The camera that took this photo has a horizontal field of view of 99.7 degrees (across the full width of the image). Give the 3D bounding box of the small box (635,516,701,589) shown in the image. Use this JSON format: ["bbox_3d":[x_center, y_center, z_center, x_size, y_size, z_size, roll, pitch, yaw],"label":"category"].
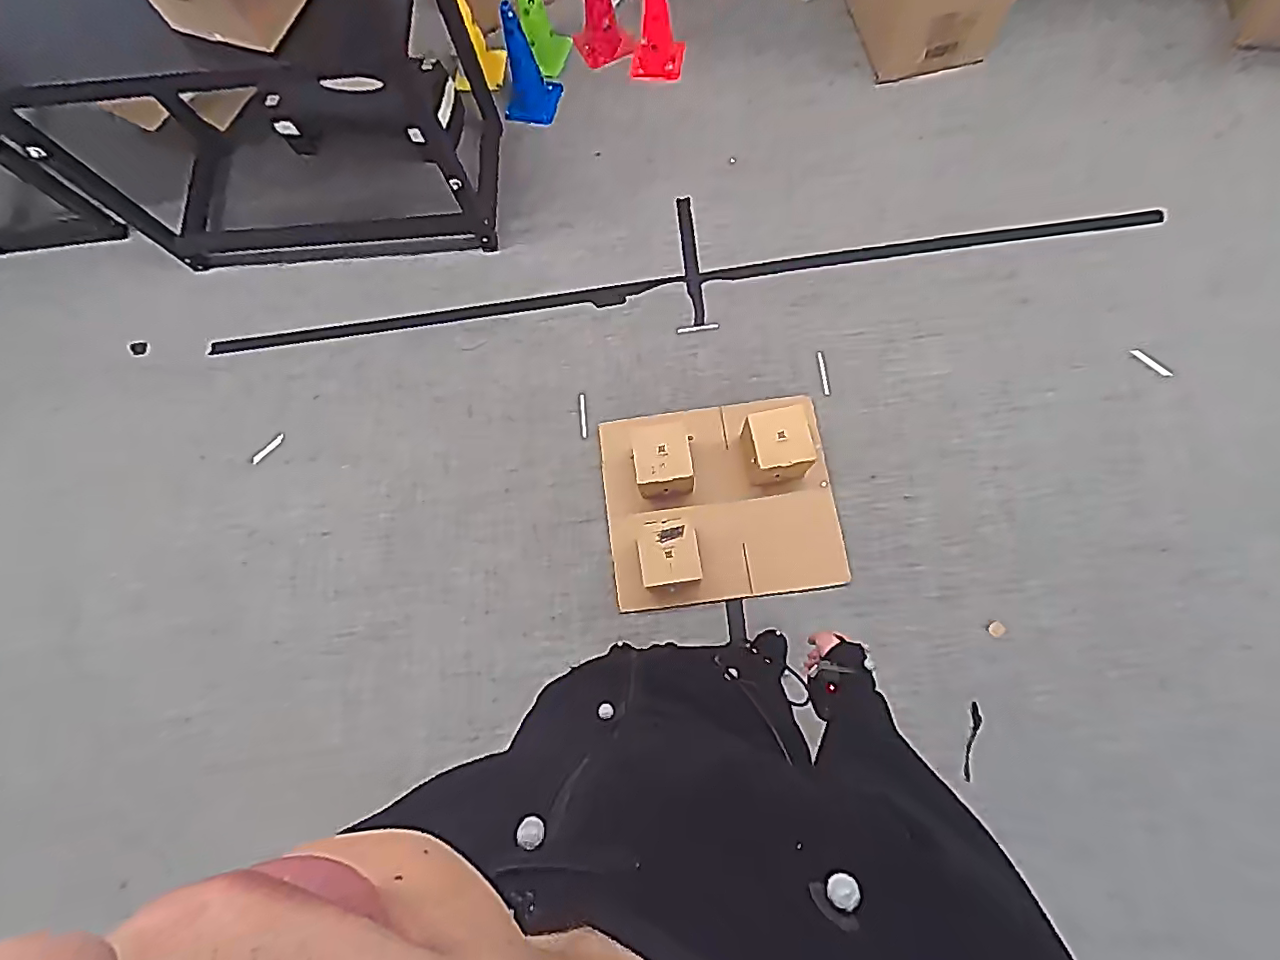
[{"bbox_3d":[0.080,0.214,1.561,0.168,0.176,0.179,-9,77,3],"label":"small box"}]

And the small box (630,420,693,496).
[{"bbox_3d":[0.065,-0.062,1.633,0.168,0.176,0.179,-8,76,3],"label":"small box"}]

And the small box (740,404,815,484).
[{"bbox_3d":[0.406,-0.104,1.626,0.168,0.176,0.179,-11,75,1],"label":"small box"}]
